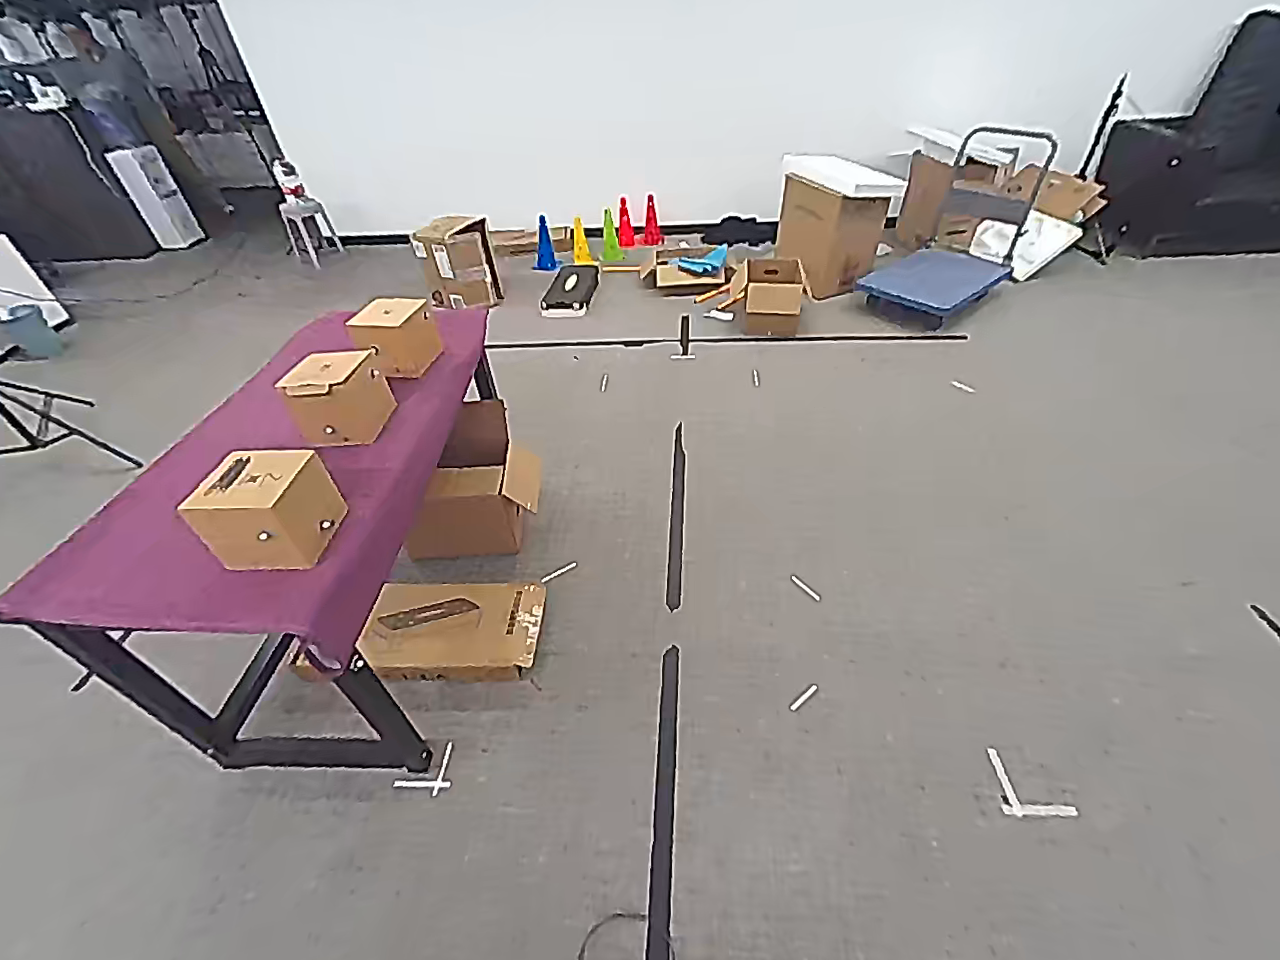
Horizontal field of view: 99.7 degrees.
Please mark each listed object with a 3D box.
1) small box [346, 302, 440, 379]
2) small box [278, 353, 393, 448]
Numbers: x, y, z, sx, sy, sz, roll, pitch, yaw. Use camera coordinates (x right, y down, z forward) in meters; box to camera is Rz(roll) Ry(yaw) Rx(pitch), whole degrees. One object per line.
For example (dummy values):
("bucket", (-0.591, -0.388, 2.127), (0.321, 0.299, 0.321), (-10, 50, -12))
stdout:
("small box", (-0.711, -0.408, 1.586), (0.168, 0.176, 0.179), (3, 42, 8))
("small box", (-0.743, -0.198, 1.348), (0.168, 0.176, 0.179), (-3, 41, 5))
